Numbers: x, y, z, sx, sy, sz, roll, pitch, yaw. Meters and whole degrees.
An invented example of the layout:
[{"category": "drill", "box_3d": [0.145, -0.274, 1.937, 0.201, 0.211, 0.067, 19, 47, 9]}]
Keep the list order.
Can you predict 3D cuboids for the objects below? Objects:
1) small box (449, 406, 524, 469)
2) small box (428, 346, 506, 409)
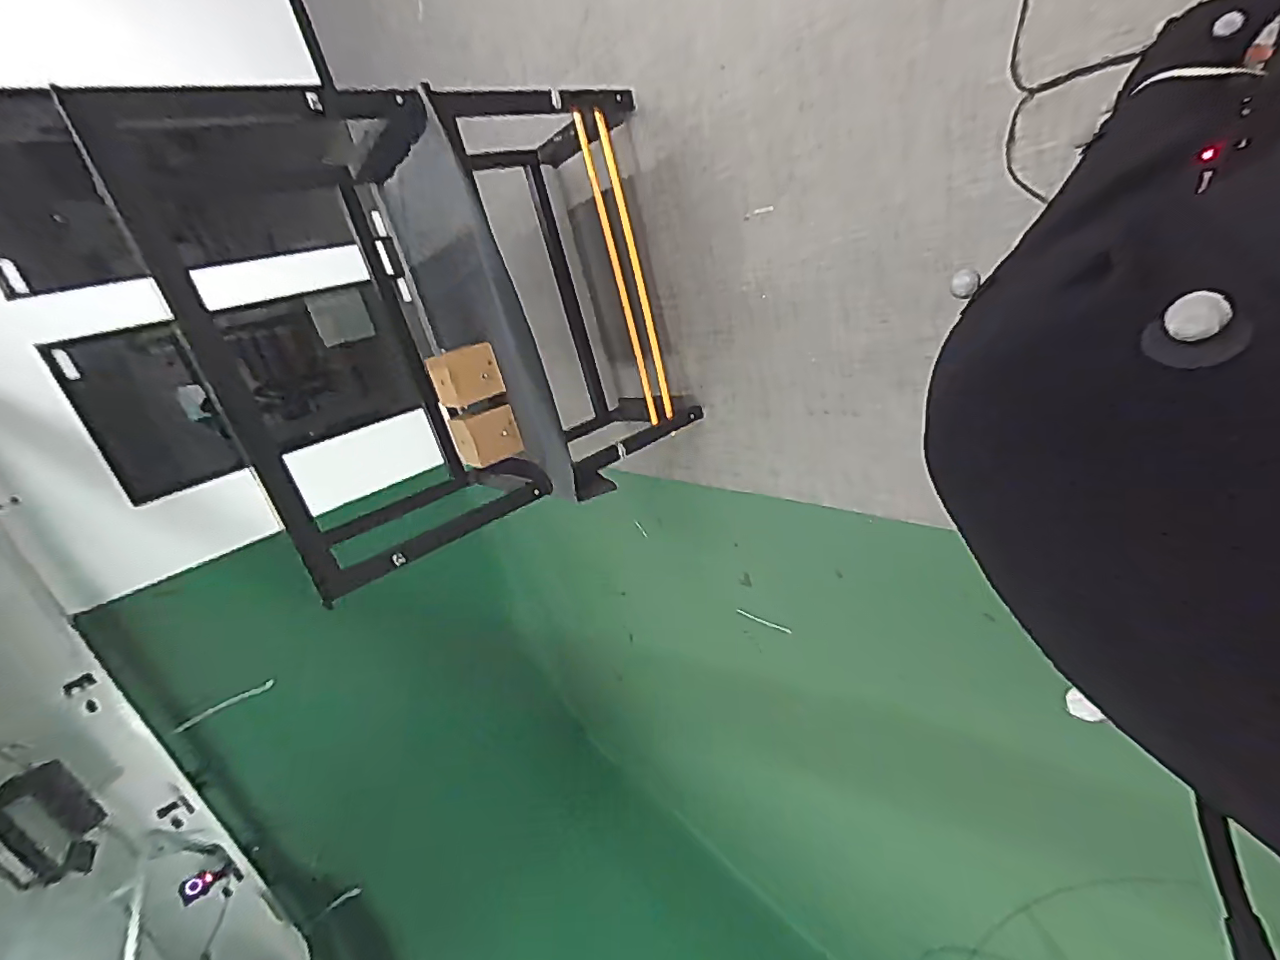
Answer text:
[{"category": "small box", "box_3d": [-0.524, -0.149, 1.858, 0.179, 0.176, 0.168, 9, 121, 51]}, {"category": "small box", "box_3d": [-0.568, -0.340, 1.788, 0.179, 0.176, 0.168, 10, 121, 51]}]
